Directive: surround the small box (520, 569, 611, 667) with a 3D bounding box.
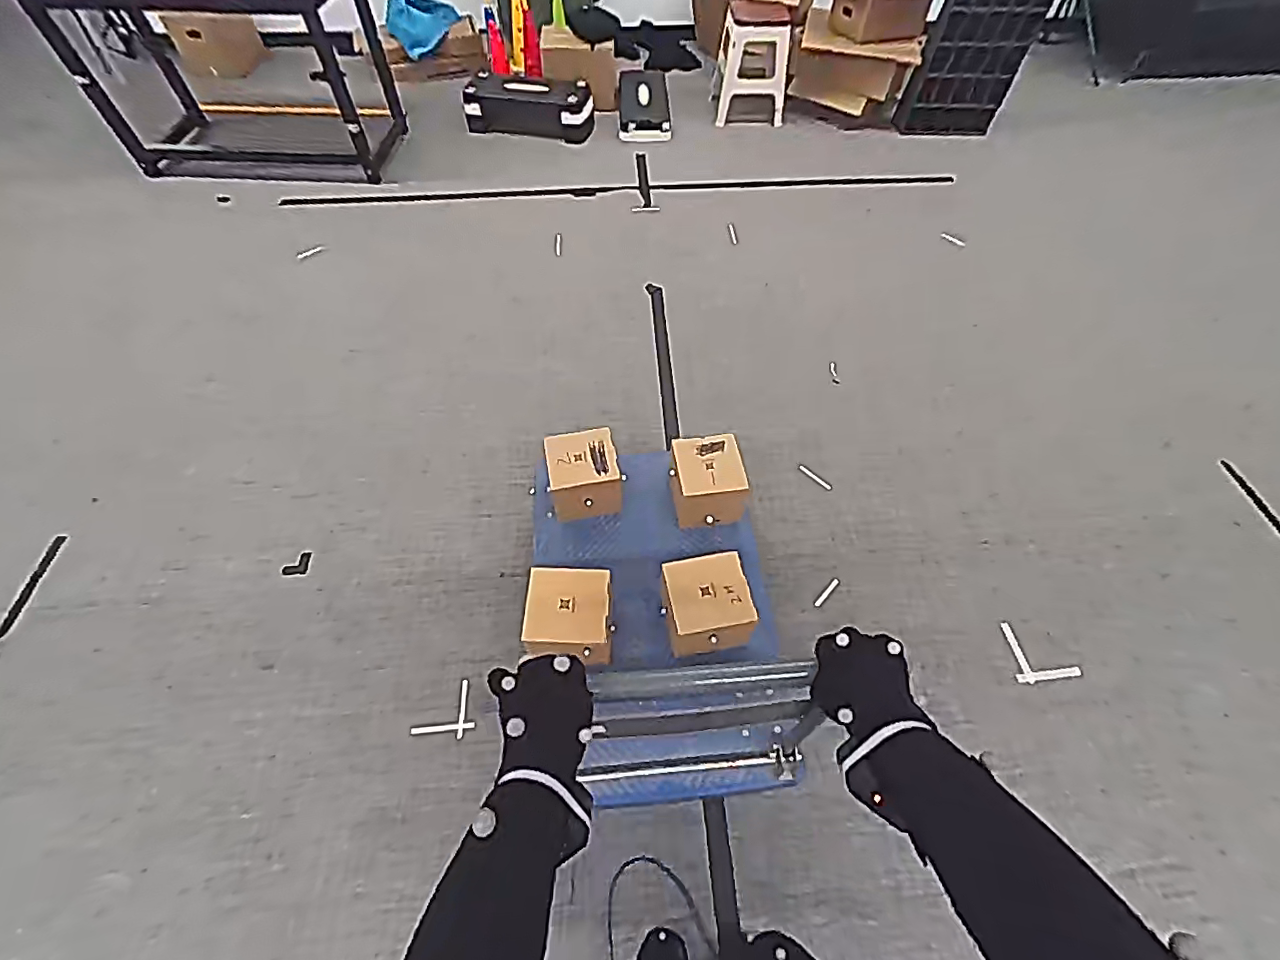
[{"bbox_3d":[-0.157,0.310,1.207,0.179,0.176,0.168,2,55,-1],"label":"small box"}]

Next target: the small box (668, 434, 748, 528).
[{"bbox_3d":[0.170,0.005,1.411,0.168,0.176,0.179,-7,57,-5],"label":"small box"}]

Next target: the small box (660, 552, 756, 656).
[{"bbox_3d":[0.146,0.285,1.222,0.179,0.176,0.168,-9,57,-6],"label":"small box"}]
